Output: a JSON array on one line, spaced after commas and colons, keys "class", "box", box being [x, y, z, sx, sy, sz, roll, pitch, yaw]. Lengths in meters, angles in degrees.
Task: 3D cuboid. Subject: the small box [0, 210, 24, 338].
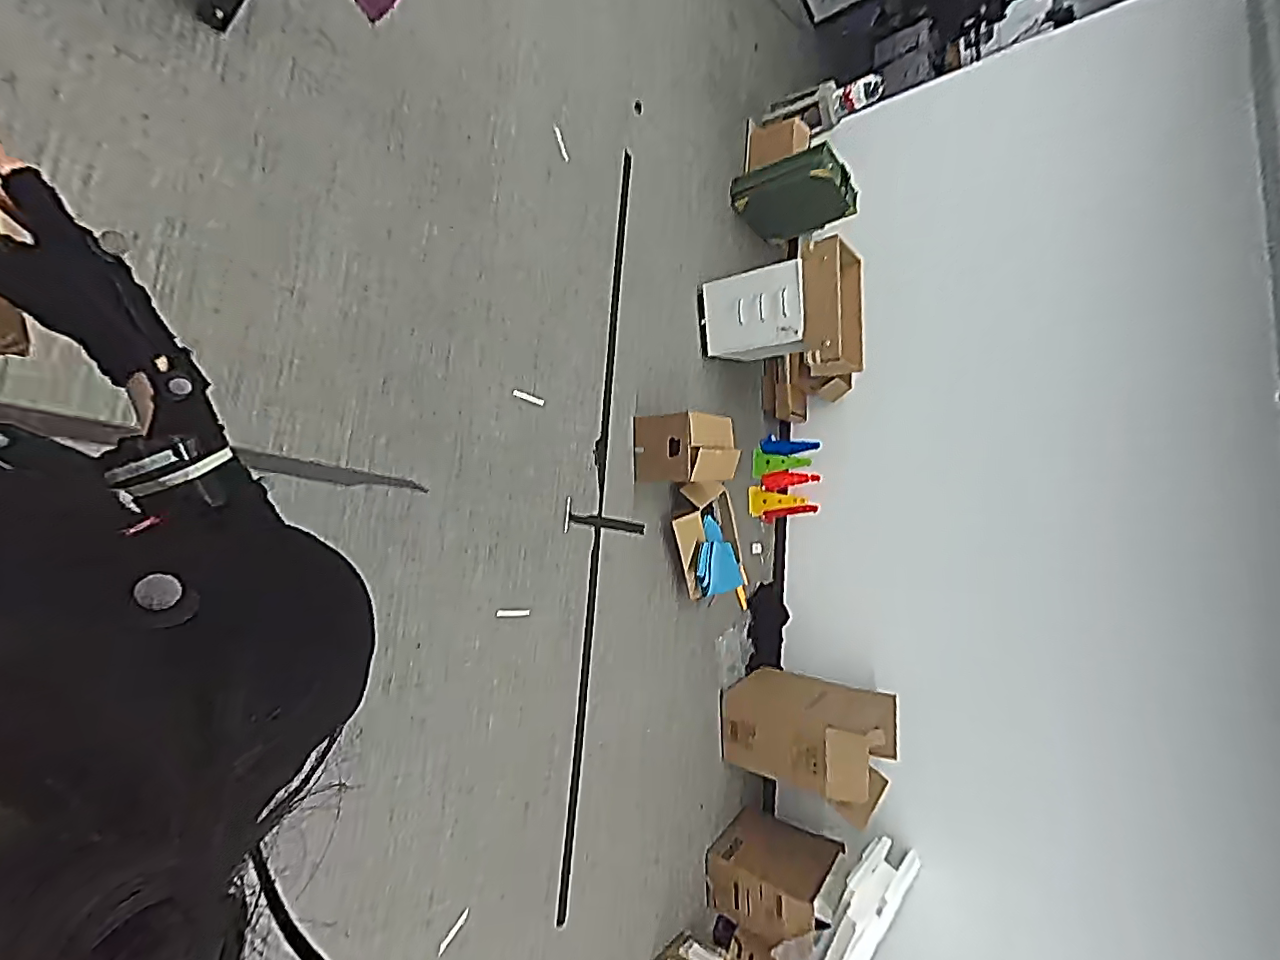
[{"class": "small box", "box": [-0.549, -0.202, 0.345, 0.179, 0.176, 0.168, -13, 56, -45]}]
